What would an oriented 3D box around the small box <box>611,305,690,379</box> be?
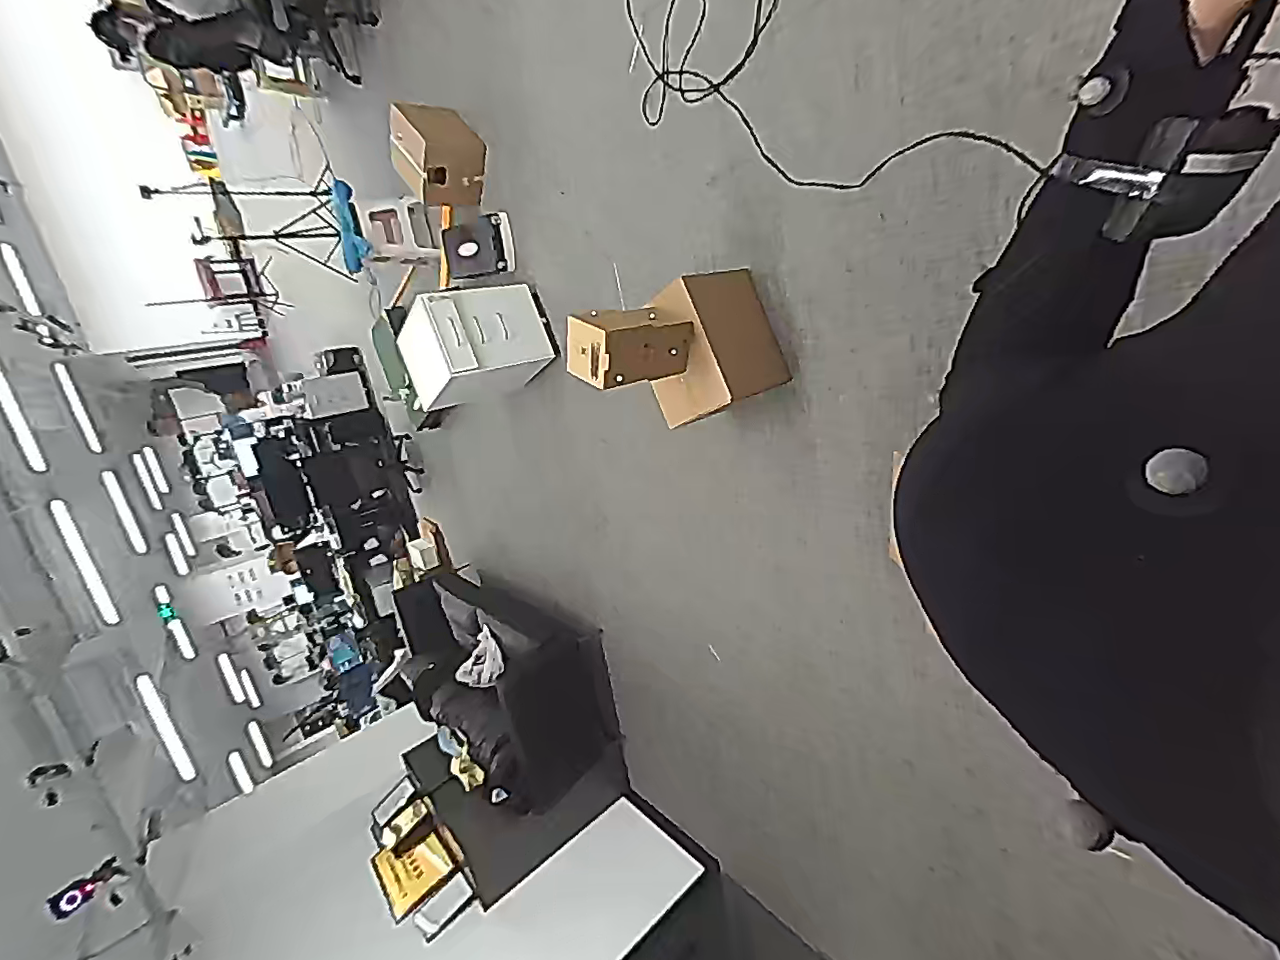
[{"bbox_3d":[0.031,-0.428,1.647,0.179,0.176,0.168,32,130,36],"label":"small box"}]
